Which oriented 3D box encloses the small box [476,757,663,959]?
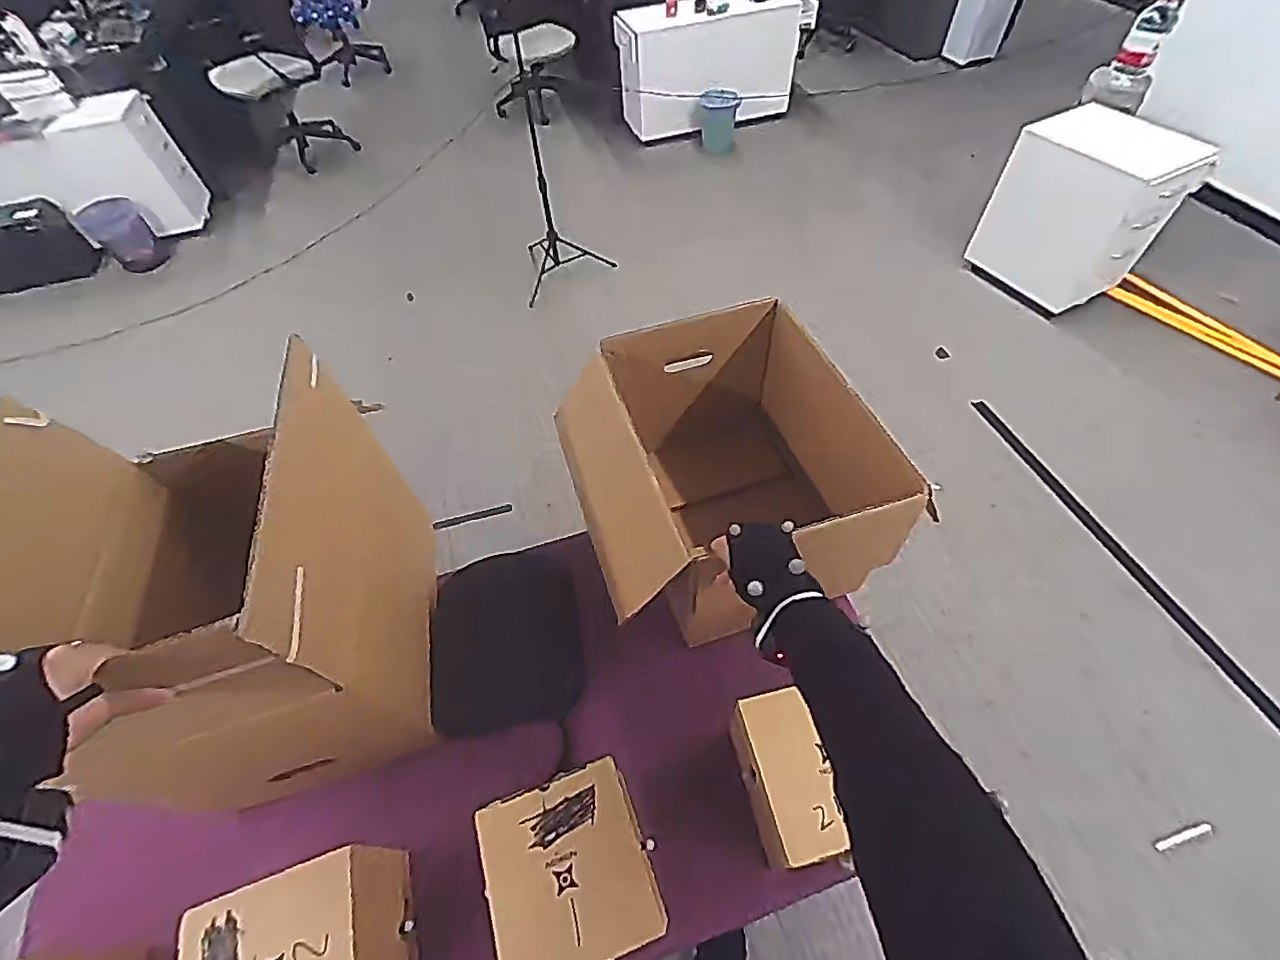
[{"bbox_3d":[-0.078,0.460,0.639,0.168,0.176,0.179,-18,56,-9],"label":"small box"}]

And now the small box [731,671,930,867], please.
[{"bbox_3d":[0.220,0.368,0.684,0.168,0.176,0.179,-12,54,-4],"label":"small box"}]
